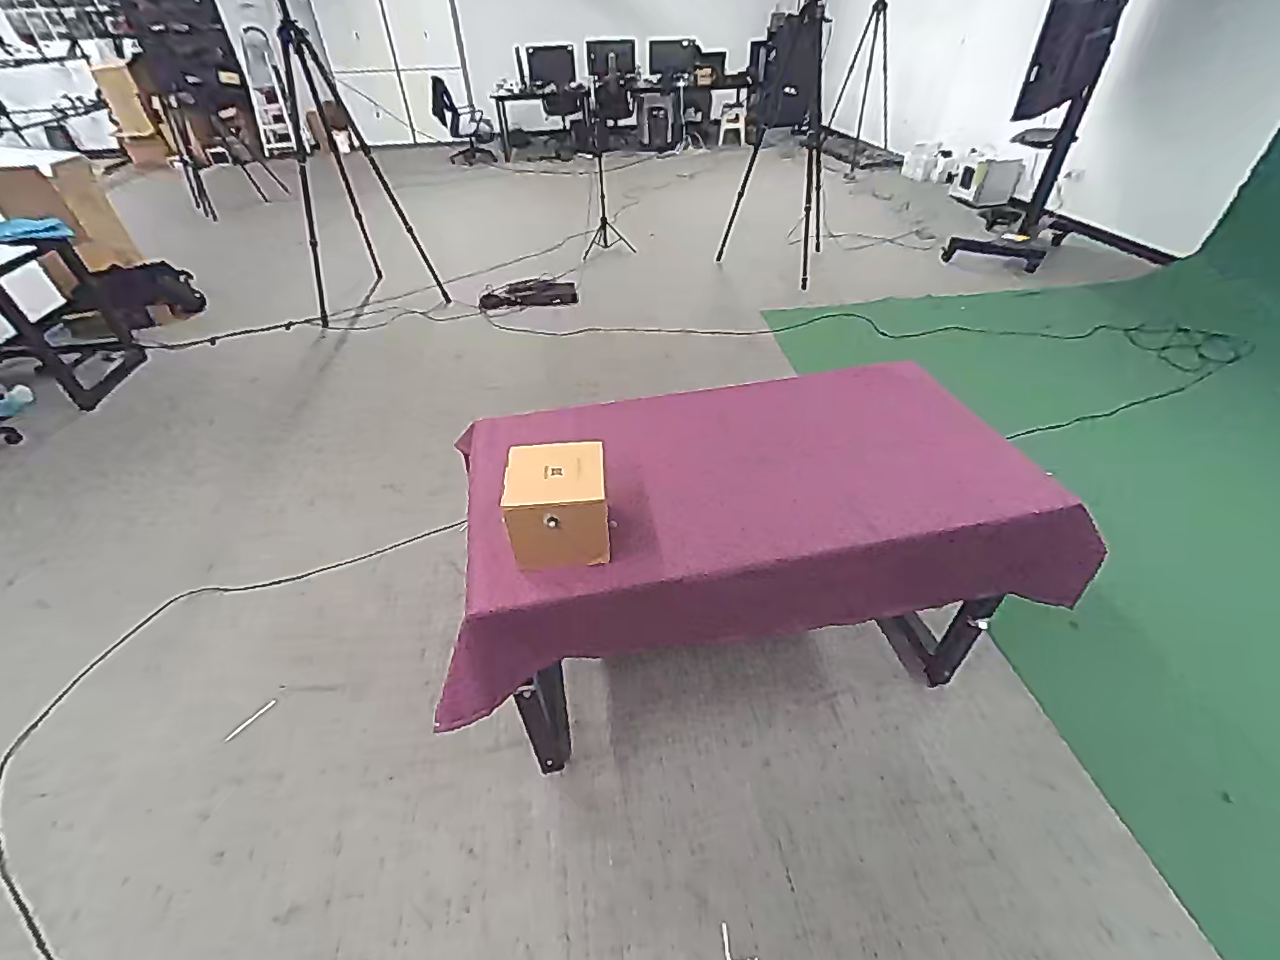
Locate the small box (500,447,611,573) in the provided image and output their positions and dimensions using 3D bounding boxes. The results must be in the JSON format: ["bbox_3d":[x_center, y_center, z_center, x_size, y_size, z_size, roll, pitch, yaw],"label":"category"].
[{"bbox_3d":[-0.148,0.058,1.007,0.179,0.176,0.168,-4,41,-2],"label":"small box"}]
